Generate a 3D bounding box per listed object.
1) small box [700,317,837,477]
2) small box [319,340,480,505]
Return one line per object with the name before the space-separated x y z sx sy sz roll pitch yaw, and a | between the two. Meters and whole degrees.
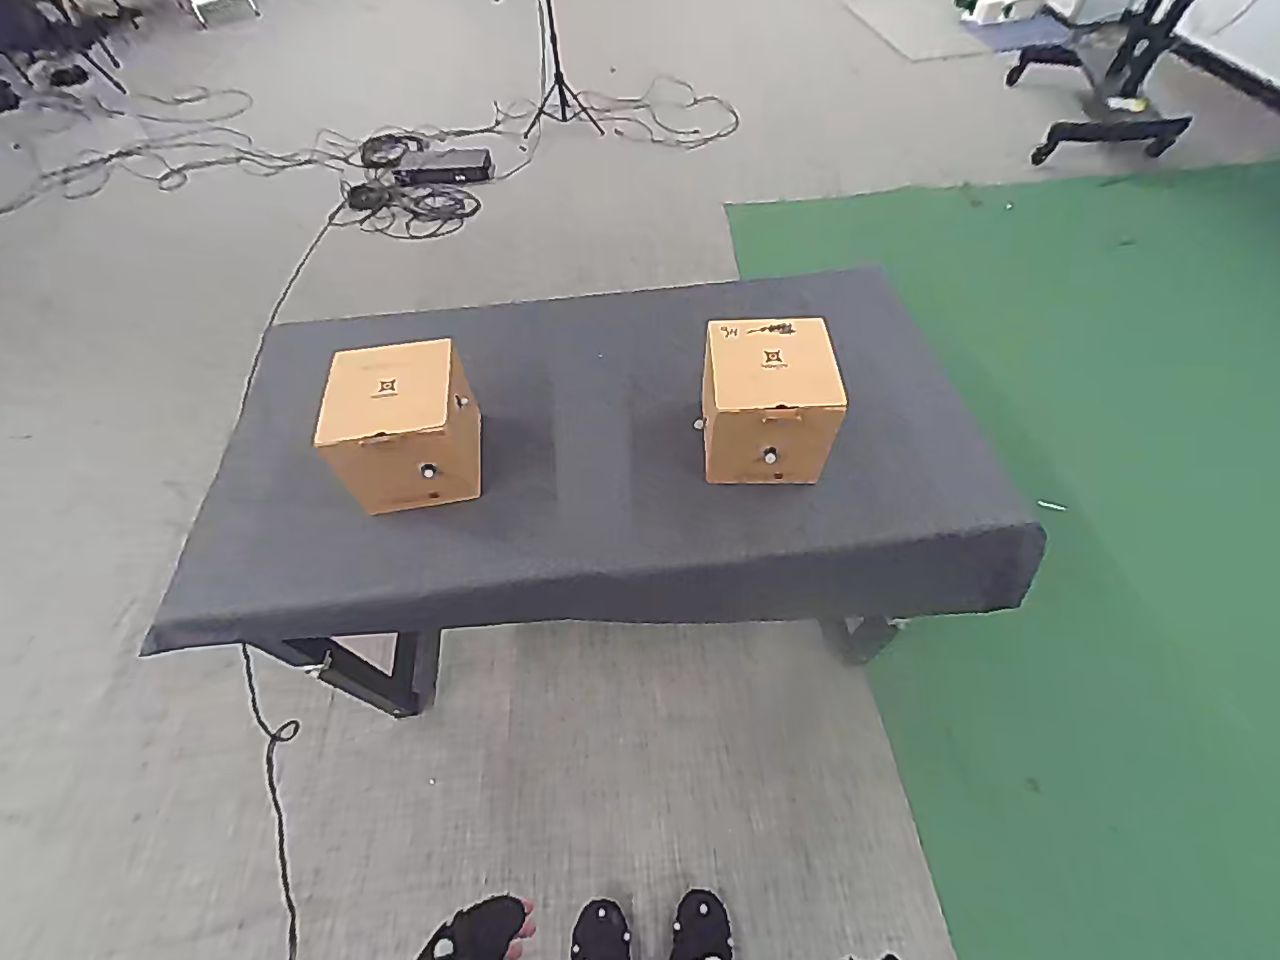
small box | 0.176 -0.116 0.798 0.168 0.176 0.179 -1 57 3
small box | -0.340 -0.077 0.803 0.168 0.176 0.179 -9 54 -5
